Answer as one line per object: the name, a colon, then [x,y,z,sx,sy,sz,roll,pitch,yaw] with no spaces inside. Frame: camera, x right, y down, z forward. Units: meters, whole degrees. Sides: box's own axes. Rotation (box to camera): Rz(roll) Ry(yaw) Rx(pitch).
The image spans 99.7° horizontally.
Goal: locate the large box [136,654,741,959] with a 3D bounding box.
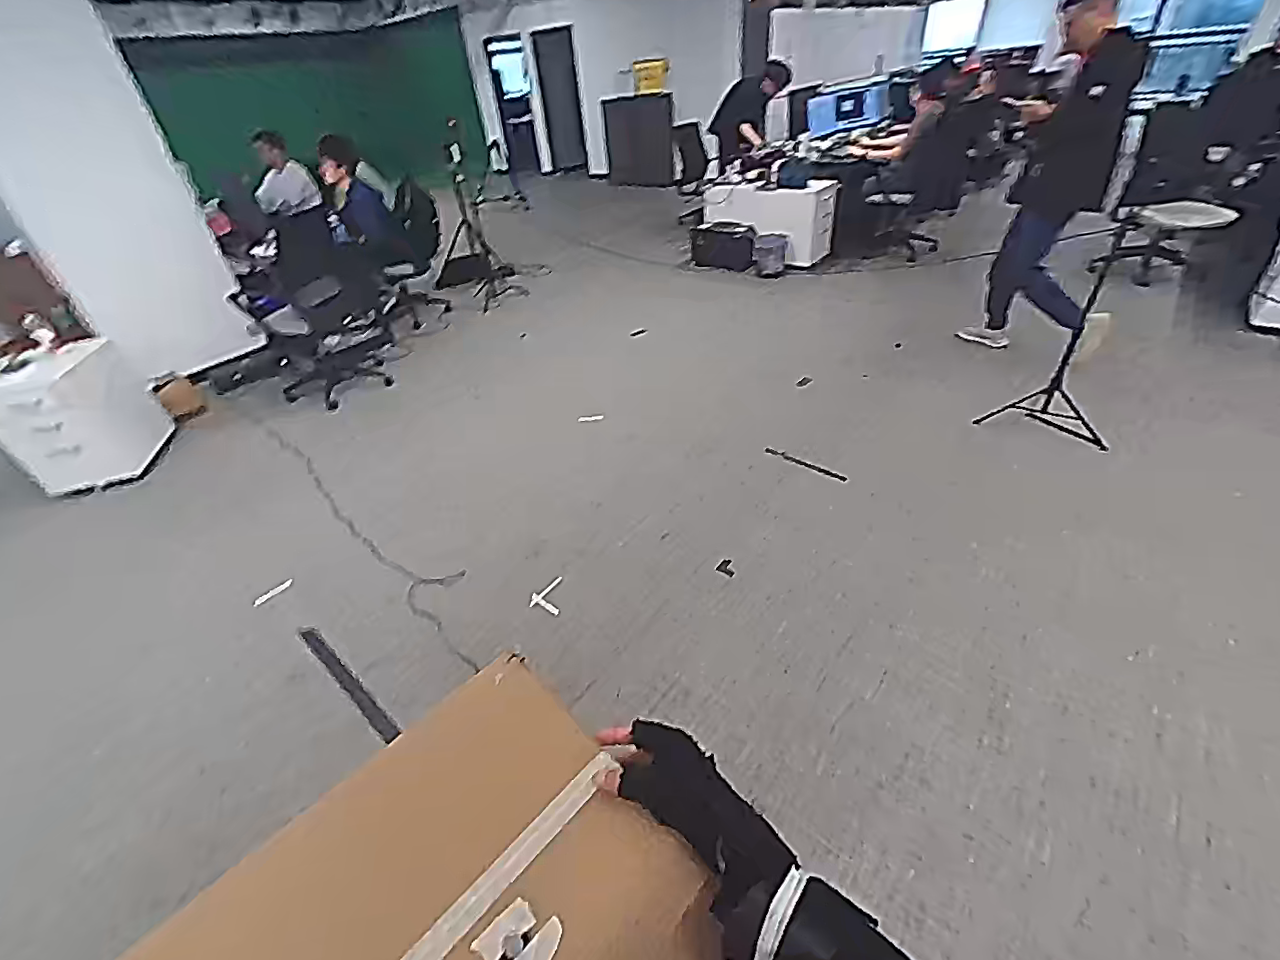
large box: [-0.162,0.463,0.500,0.320,0.320,0.408,34,53,30]
